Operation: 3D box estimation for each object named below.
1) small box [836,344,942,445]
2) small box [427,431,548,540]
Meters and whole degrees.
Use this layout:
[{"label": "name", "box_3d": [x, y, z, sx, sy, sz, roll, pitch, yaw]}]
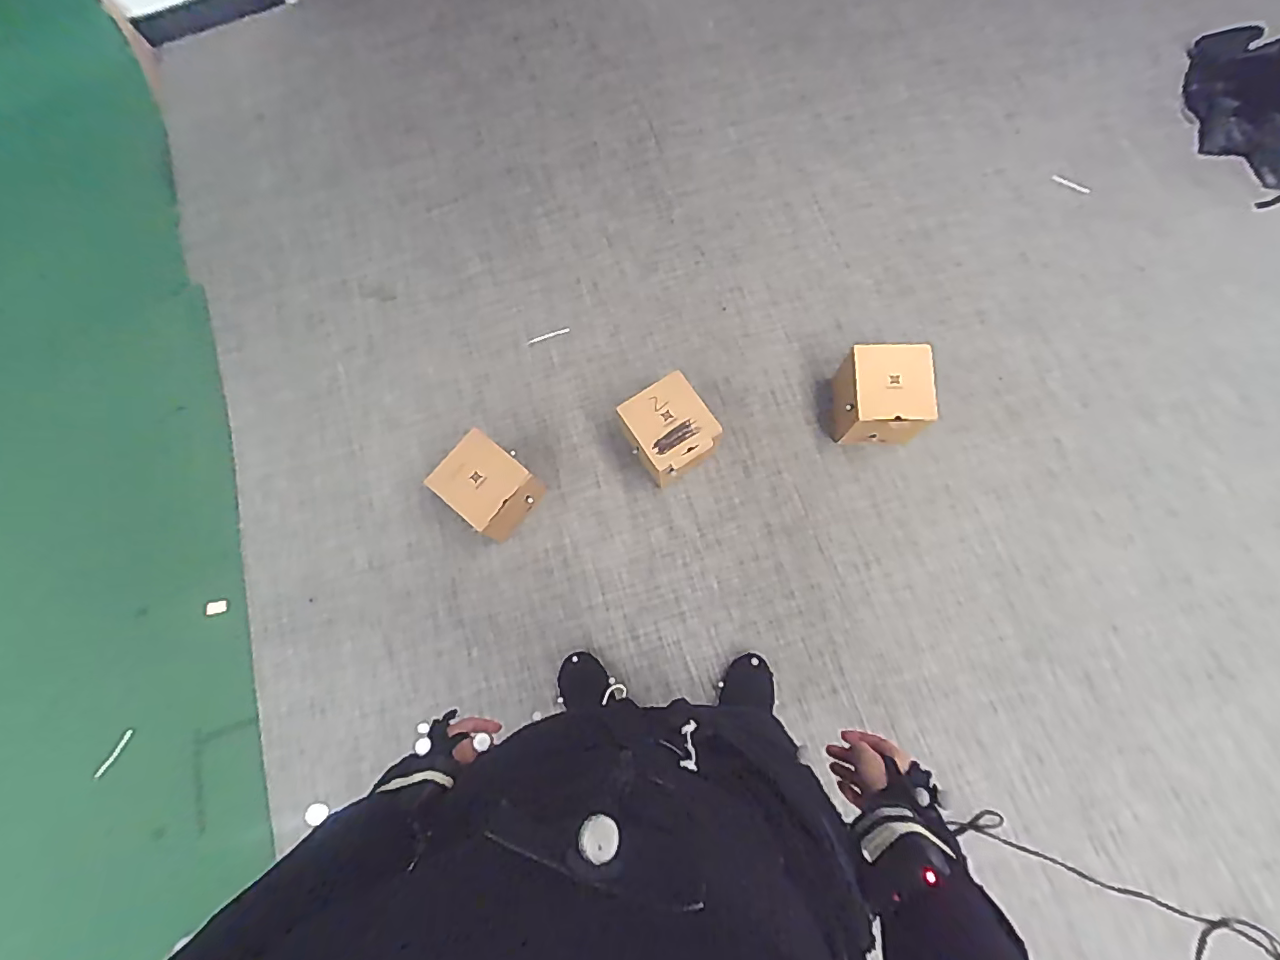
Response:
[{"label": "small box", "box_3d": [0.549, -0.188, 1.217, 0.168, 0.176, 0.179, 0, 77, 4]}, {"label": "small box", "box_3d": [-0.335, 0.021, 1.230, 0.179, 0.176, 0.168, 38, 80, 13]}]
